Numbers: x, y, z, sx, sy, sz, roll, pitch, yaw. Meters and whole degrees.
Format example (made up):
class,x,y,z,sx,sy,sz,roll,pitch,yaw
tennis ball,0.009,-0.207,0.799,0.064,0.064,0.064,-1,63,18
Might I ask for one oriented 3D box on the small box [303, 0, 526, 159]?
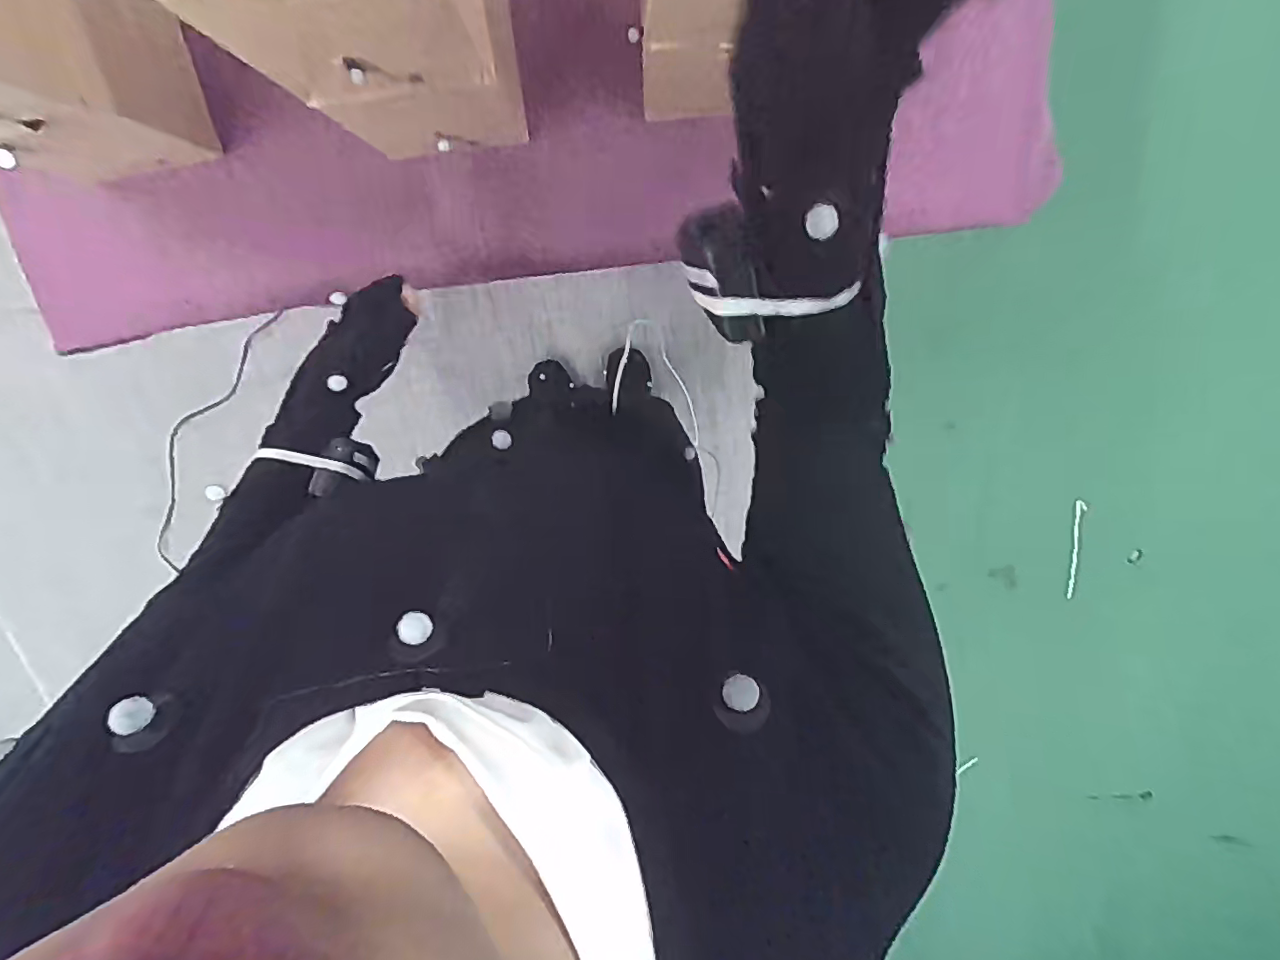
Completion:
class,x,y,z,sx,sy,sz,roll,pitch,yaw
small box,-0.215,-0.436,0.520,0.168,0.176,0.179,-5,107,1

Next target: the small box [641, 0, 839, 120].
class,x,y,z,sx,sy,sz,roll,pitch,yaw
small box,0.086,-0.467,0.516,0.168,0.176,0.179,-2,105,-1

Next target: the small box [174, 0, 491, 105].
class,x,y,z,sx,sy,sz,roll,pitch,yaw
small box,-0.212,-0.391,0.364,0.168,0.176,0.179,-7,107,1

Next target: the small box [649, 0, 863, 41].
class,x,y,z,sx,sy,sz,roll,pitch,yaw
small box,0.089,-0.426,0.357,0.168,0.176,0.179,-2,107,-1
